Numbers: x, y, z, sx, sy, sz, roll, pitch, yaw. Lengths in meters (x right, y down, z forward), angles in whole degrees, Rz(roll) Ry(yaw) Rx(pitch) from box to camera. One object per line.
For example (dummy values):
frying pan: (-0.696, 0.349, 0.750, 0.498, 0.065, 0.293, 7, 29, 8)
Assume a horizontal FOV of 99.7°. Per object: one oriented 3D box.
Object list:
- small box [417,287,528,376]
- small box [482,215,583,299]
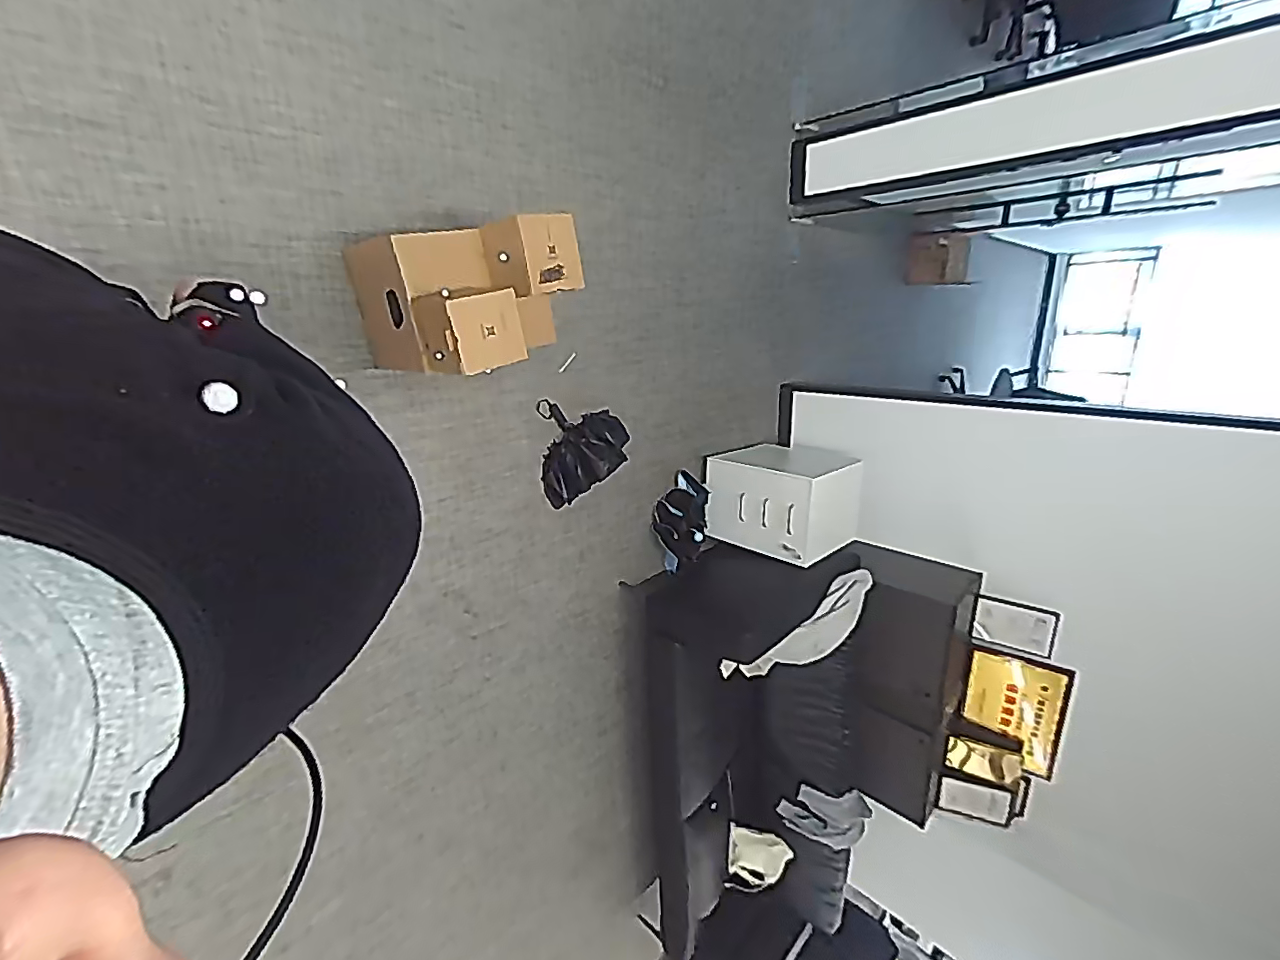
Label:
small box: (-0.396, -0.350, 1.265, 0.179, 0.176, 0.168, -31, 125, -39)
small box: (-0.267, -0.549, 1.346, 0.168, 0.176, 0.179, -26, 115, -40)
